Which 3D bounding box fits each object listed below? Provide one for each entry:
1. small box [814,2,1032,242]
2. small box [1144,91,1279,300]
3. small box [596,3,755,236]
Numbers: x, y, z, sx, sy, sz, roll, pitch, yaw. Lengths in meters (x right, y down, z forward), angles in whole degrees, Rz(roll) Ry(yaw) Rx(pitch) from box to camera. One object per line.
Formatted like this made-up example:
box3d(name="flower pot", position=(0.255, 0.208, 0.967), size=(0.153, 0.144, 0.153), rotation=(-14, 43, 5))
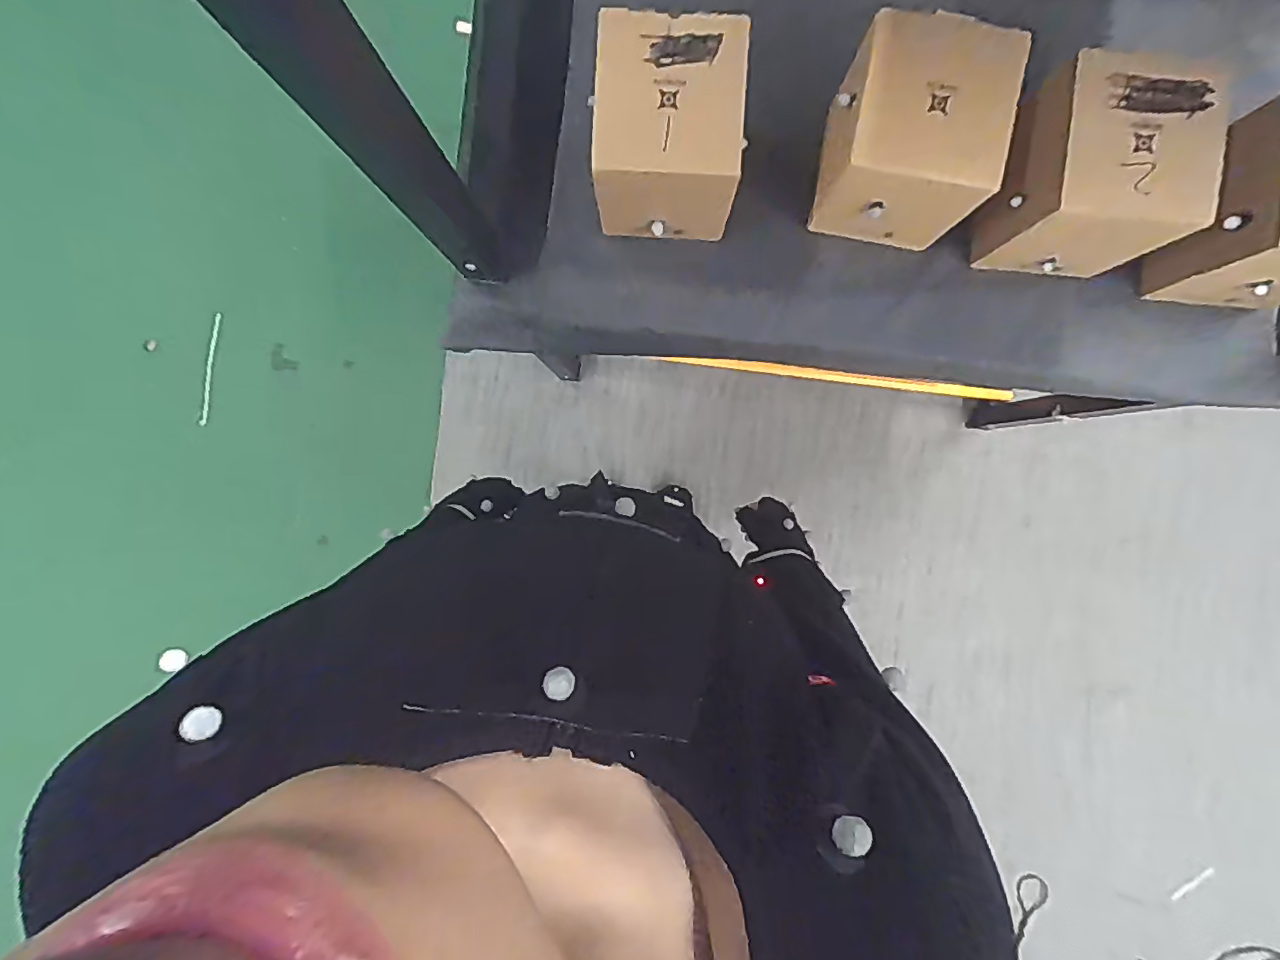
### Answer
box3d(name="small box", position=(0.327, -0.418, 0.663), size=(0.168, 0.176, 0.179), rotation=(11, 91, 1))
box3d(name="small box", position=(0.767, -0.331, 0.652), size=(0.168, 0.176, 0.179), rotation=(5, 91, 1))
box3d(name="small box", position=(0.038, -0.427, 0.666), size=(0.168, 0.176, 0.179), rotation=(3, 92, 1))
